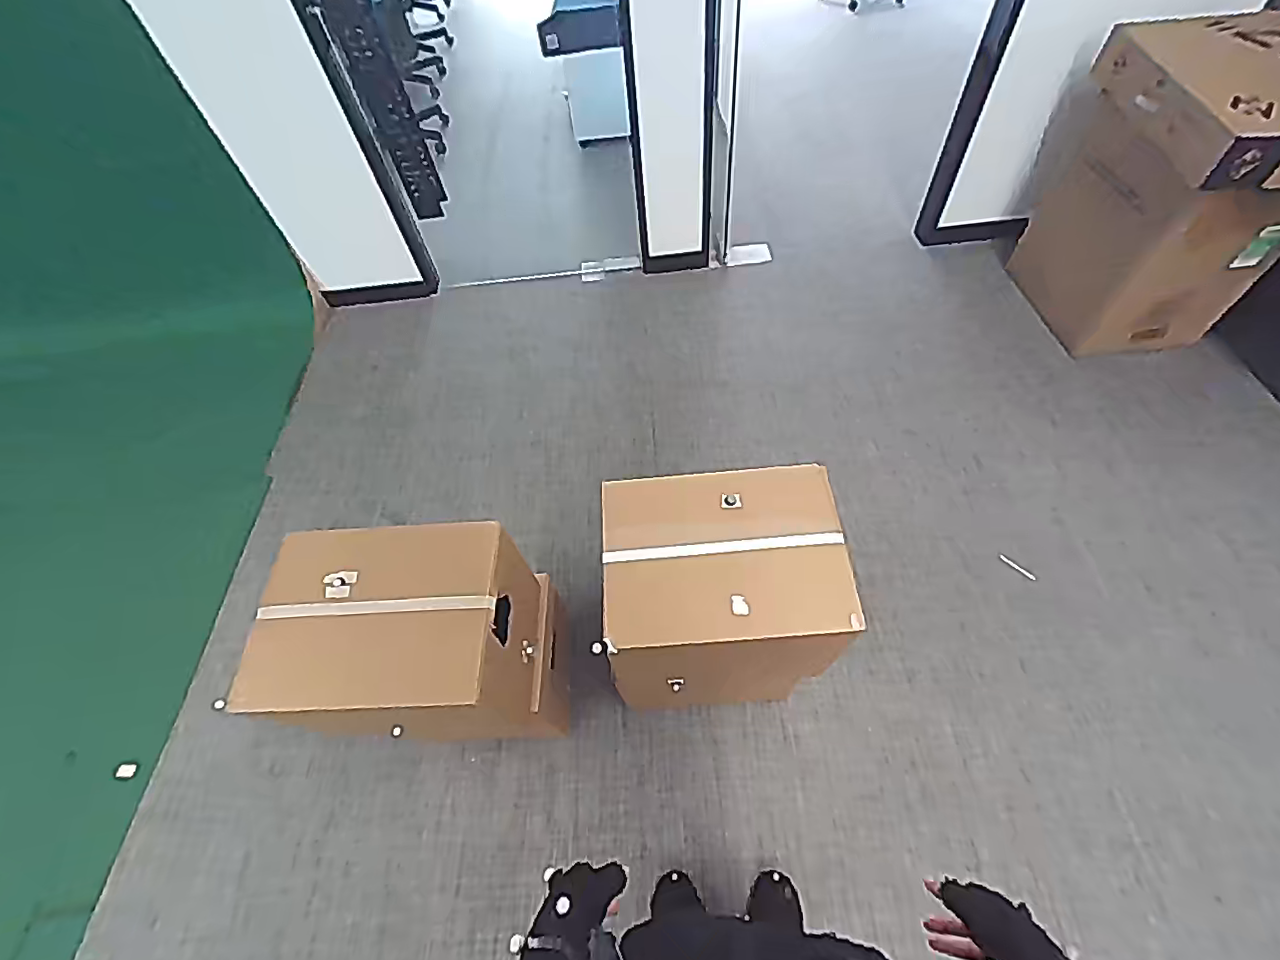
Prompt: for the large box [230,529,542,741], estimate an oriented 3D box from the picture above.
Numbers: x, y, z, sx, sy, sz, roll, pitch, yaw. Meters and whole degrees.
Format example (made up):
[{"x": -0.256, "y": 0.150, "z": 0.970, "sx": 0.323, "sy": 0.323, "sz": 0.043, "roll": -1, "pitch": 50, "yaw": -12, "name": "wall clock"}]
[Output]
[{"x": -0.425, "y": 0.308, "z": 1.025, "sx": 0.408, "sy": 0.320, "sz": 0.320, "roll": -4, "pitch": 57, "yaw": 5, "name": "large box"}]
